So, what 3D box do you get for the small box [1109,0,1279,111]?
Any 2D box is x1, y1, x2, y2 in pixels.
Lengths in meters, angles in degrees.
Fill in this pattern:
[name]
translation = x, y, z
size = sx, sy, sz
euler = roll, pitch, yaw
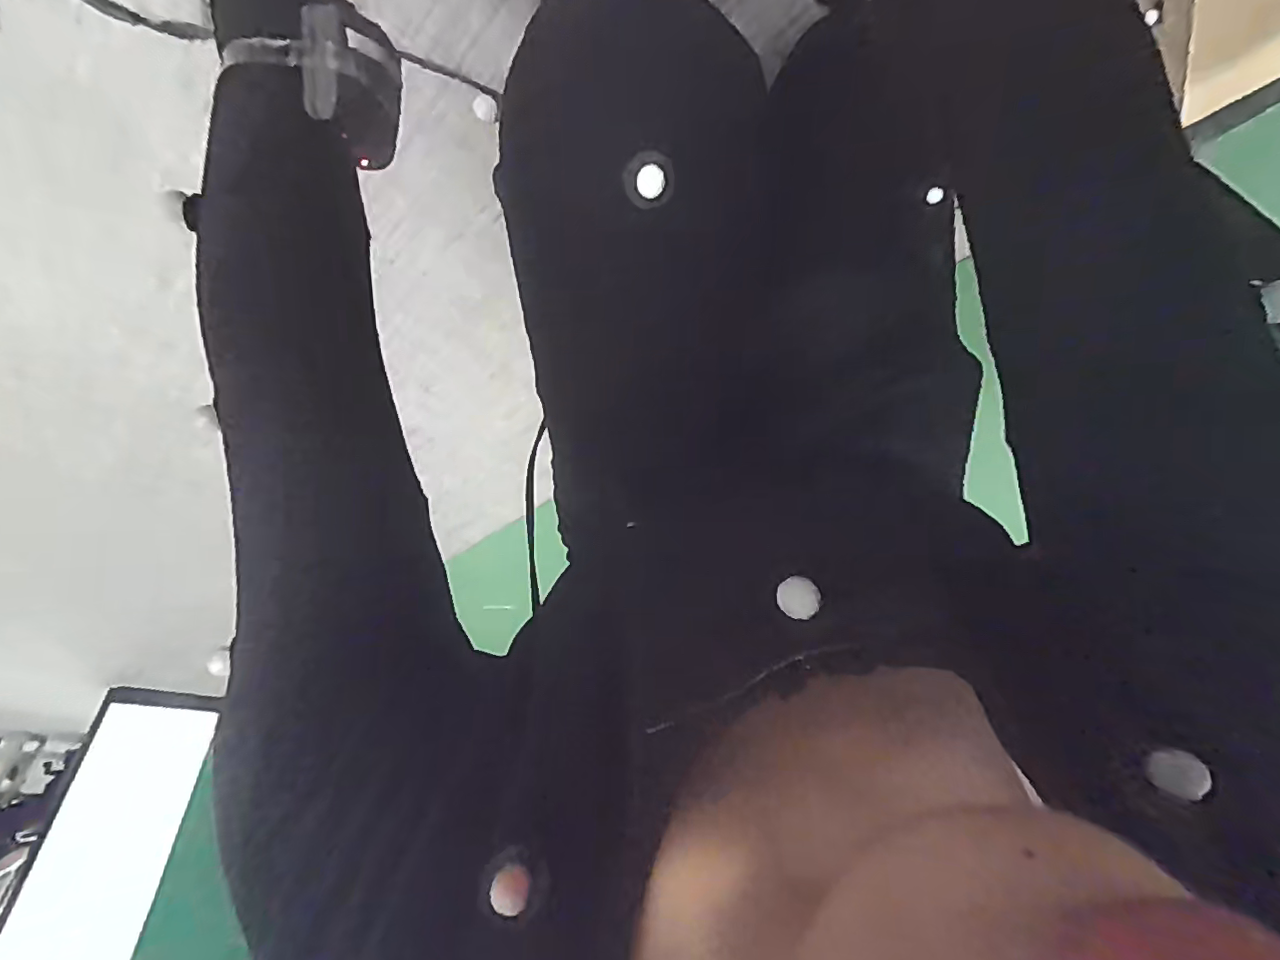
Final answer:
[small box]
translation = 0.532, -0.474, 0.454
size = 0.168, 0.176, 0.179
euler = -22, 141, 29
